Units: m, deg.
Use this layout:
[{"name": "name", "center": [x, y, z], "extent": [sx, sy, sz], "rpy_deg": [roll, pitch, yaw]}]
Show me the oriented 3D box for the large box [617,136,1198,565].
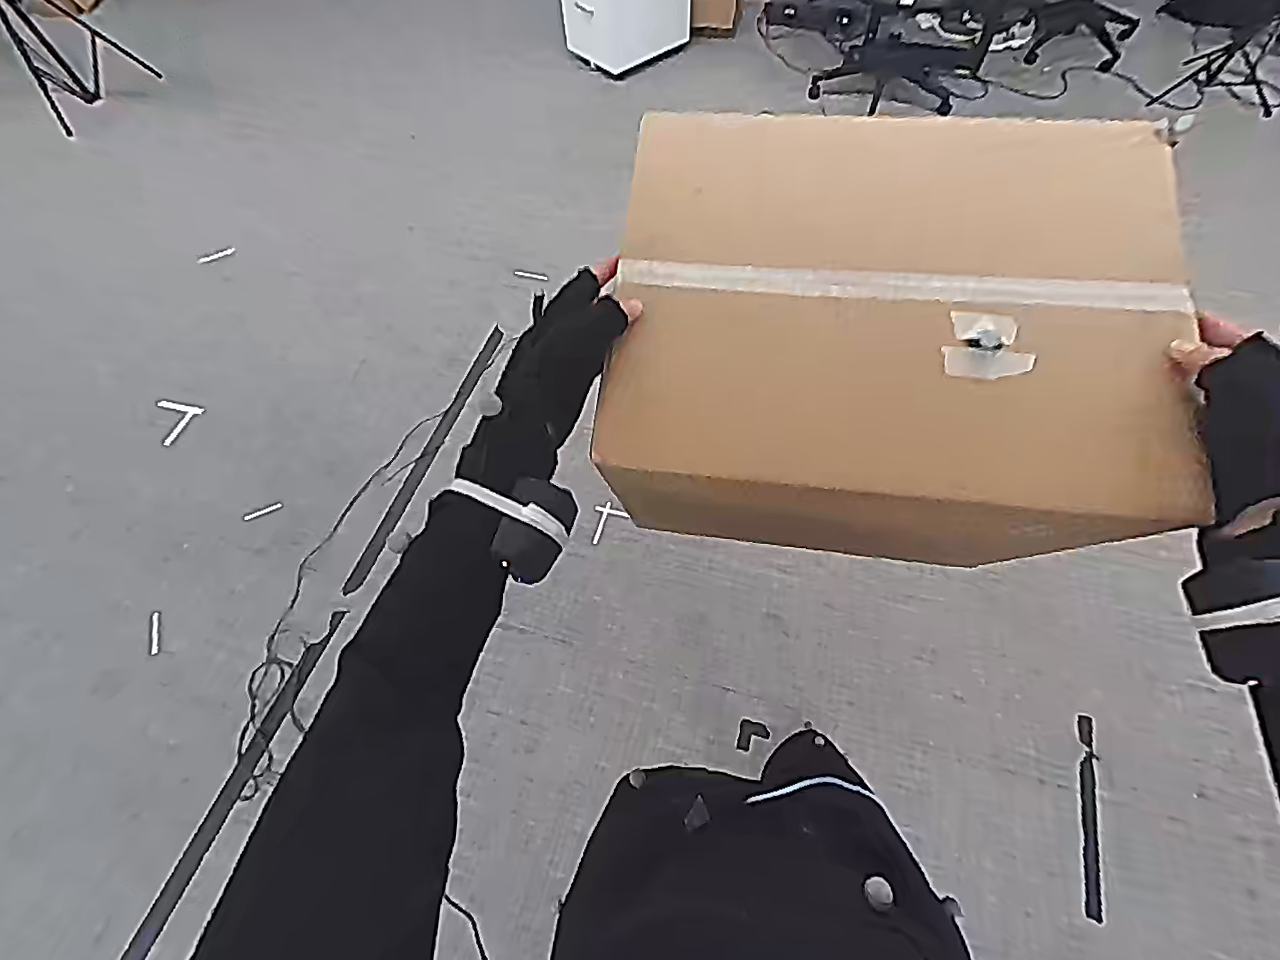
[{"name": "large box", "center": [0.206, -0.099, 0.559], "extent": [0.408, 0.320, 0.320], "rpy_deg": [7, 78, 7]}]
